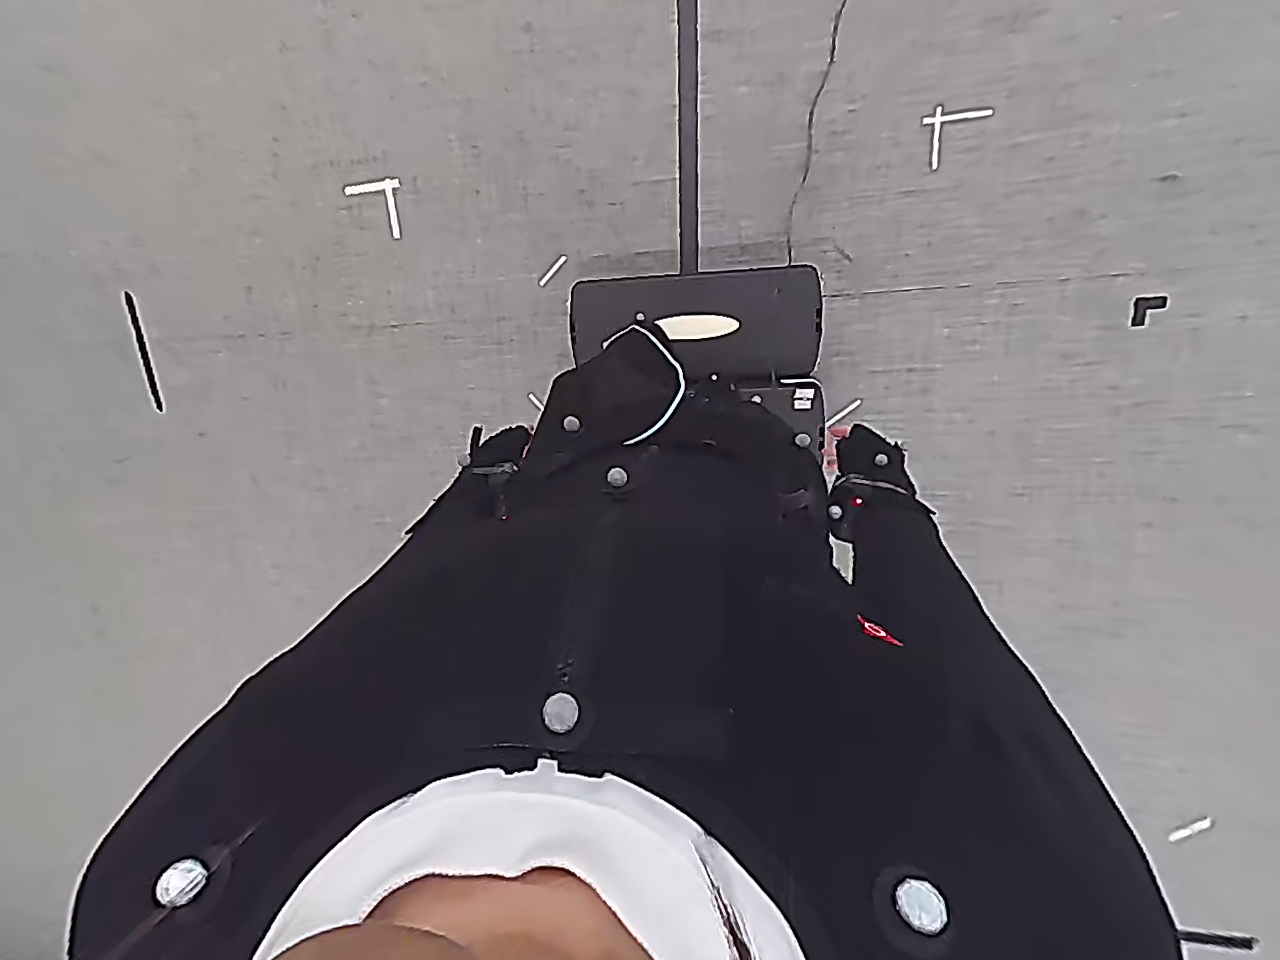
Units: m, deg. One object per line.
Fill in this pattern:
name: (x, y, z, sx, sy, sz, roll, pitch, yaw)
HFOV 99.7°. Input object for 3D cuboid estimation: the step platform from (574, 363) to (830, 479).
step platform: (0.162, -0.158, 1.487, 0.684, 0.204, 0.286, -1, 104, 11)
